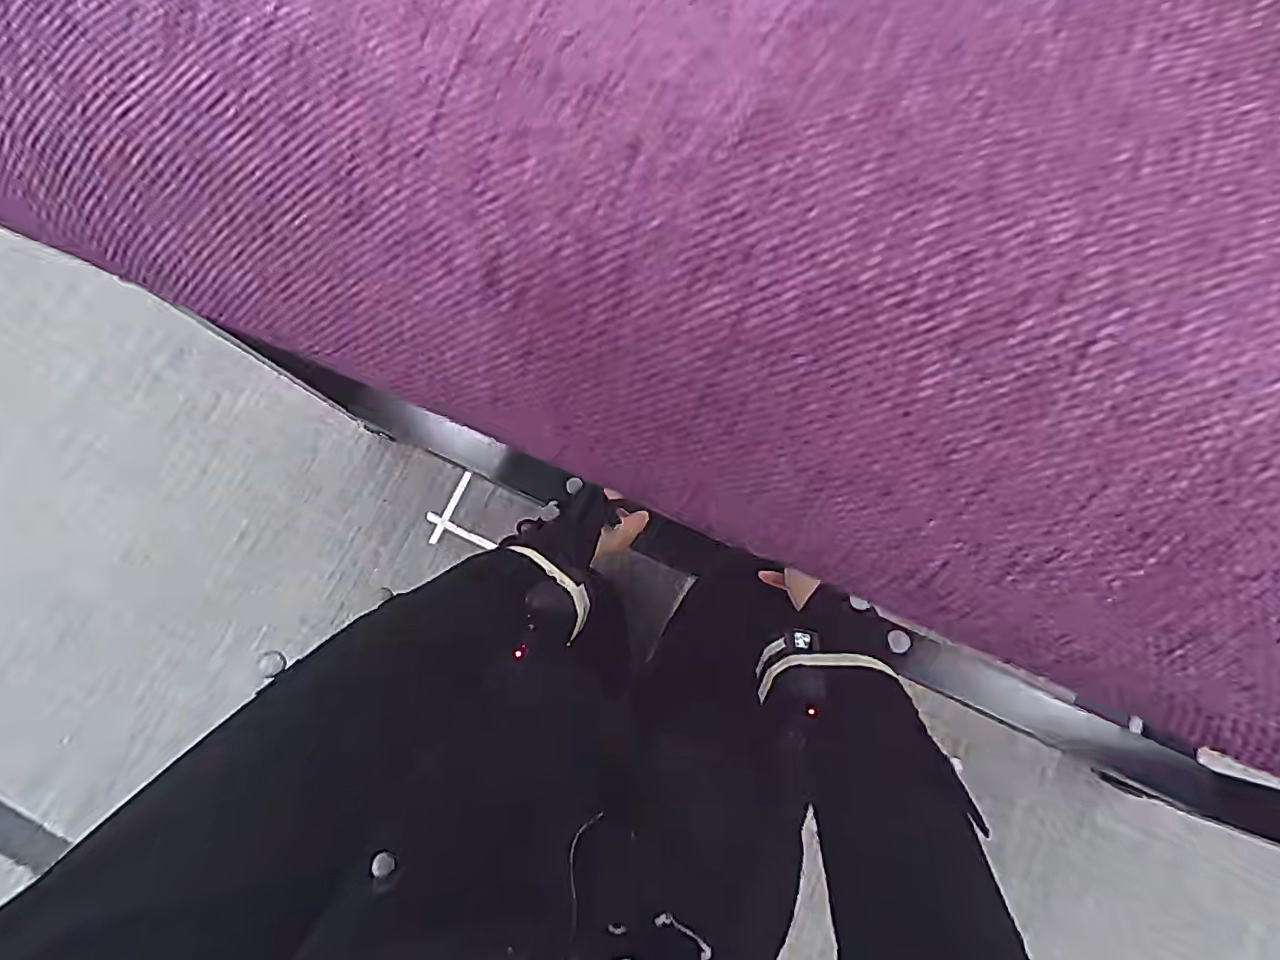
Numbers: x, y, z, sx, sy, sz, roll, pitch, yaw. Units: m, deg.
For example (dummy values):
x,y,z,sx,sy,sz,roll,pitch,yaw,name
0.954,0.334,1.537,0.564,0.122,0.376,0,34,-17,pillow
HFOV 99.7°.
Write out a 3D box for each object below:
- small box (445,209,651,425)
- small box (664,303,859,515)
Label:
x,y,z,sx,sy,sz,roll,pitch,yaw,name
-0.097,-0.182,0.658,0.179,0.176,0.168,22,80,5,small box
0.145,-0.085,0.666,0.179,0.176,0.168,23,43,4,small box
